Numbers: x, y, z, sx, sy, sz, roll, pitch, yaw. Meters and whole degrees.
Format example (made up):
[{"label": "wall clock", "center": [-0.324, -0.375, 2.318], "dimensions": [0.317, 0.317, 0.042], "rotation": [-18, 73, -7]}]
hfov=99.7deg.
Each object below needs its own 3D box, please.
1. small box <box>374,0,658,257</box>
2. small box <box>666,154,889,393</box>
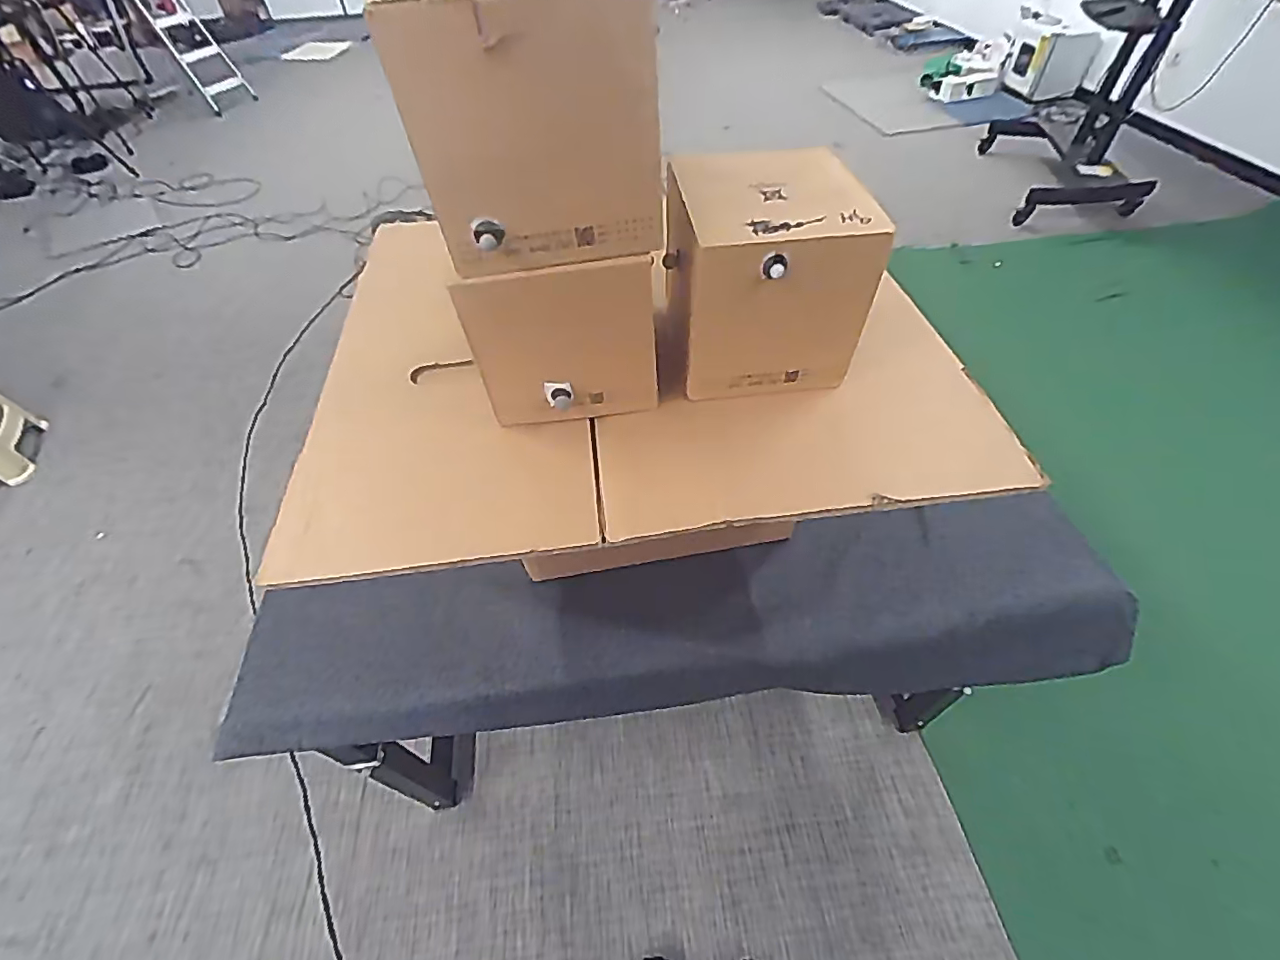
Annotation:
[{"label": "small box", "center": [-0.079, -0.293, 0.429], "dimensions": [0.168, 0.176, 0.179], "rotation": [-8, 50, -2]}, {"label": "small box", "center": [0.119, -0.212, 0.559], "dimensions": [0.168, 0.176, 0.179], "rotation": [-5, 50, -3]}]
